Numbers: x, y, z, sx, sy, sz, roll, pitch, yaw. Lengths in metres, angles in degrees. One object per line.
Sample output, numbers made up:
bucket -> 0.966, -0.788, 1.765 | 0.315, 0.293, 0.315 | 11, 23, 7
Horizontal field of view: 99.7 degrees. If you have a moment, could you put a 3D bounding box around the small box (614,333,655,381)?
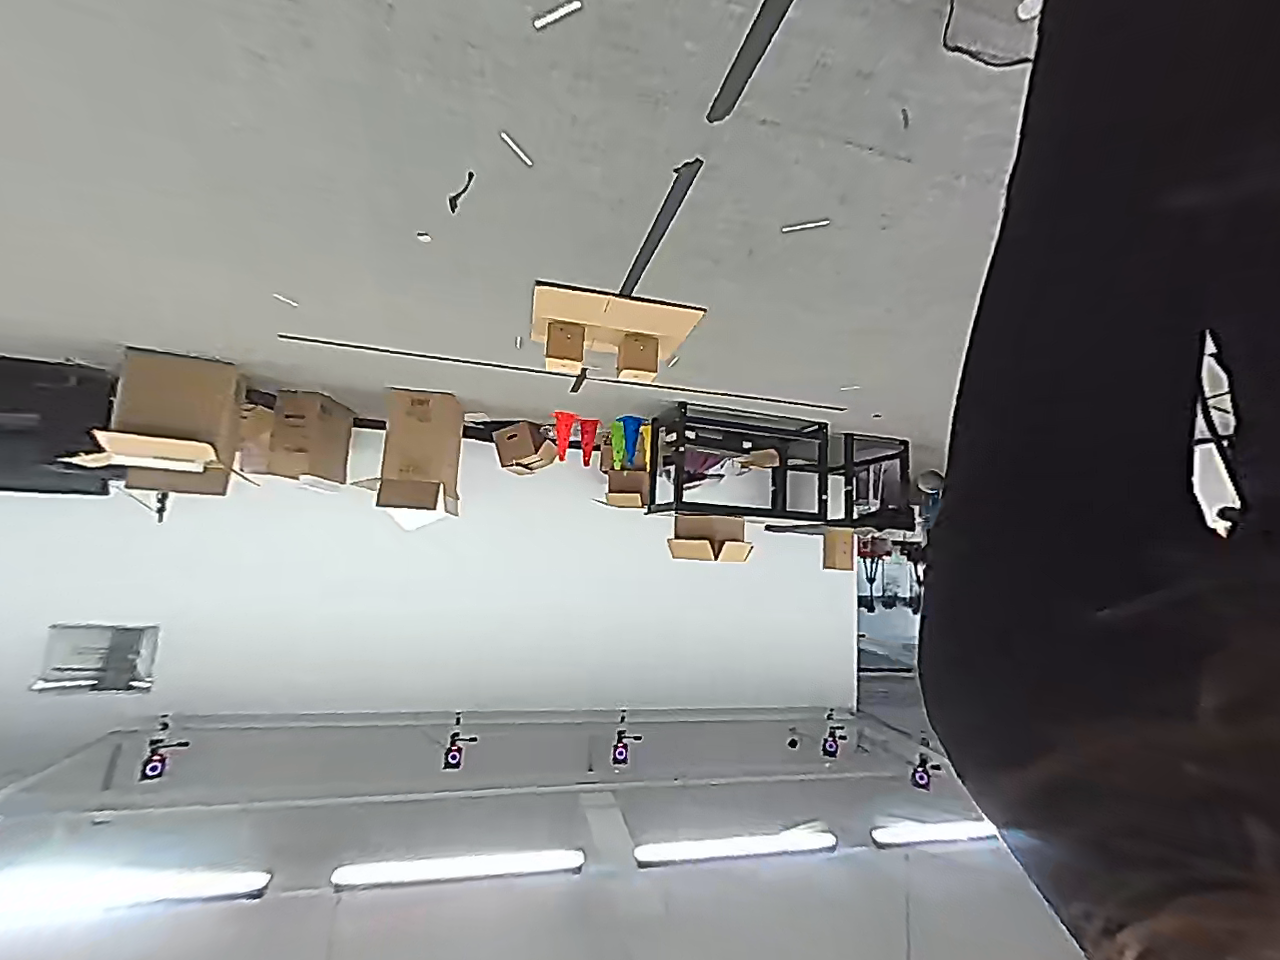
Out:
small box -> -0.026, -0.582, 2.568 | 0.168, 0.176, 0.179 | 4, 172, -12

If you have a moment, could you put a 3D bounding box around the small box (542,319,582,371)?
small box -> -0.359, -0.620, 2.490 | 0.168, 0.176, 0.179 | 5, 172, -9
